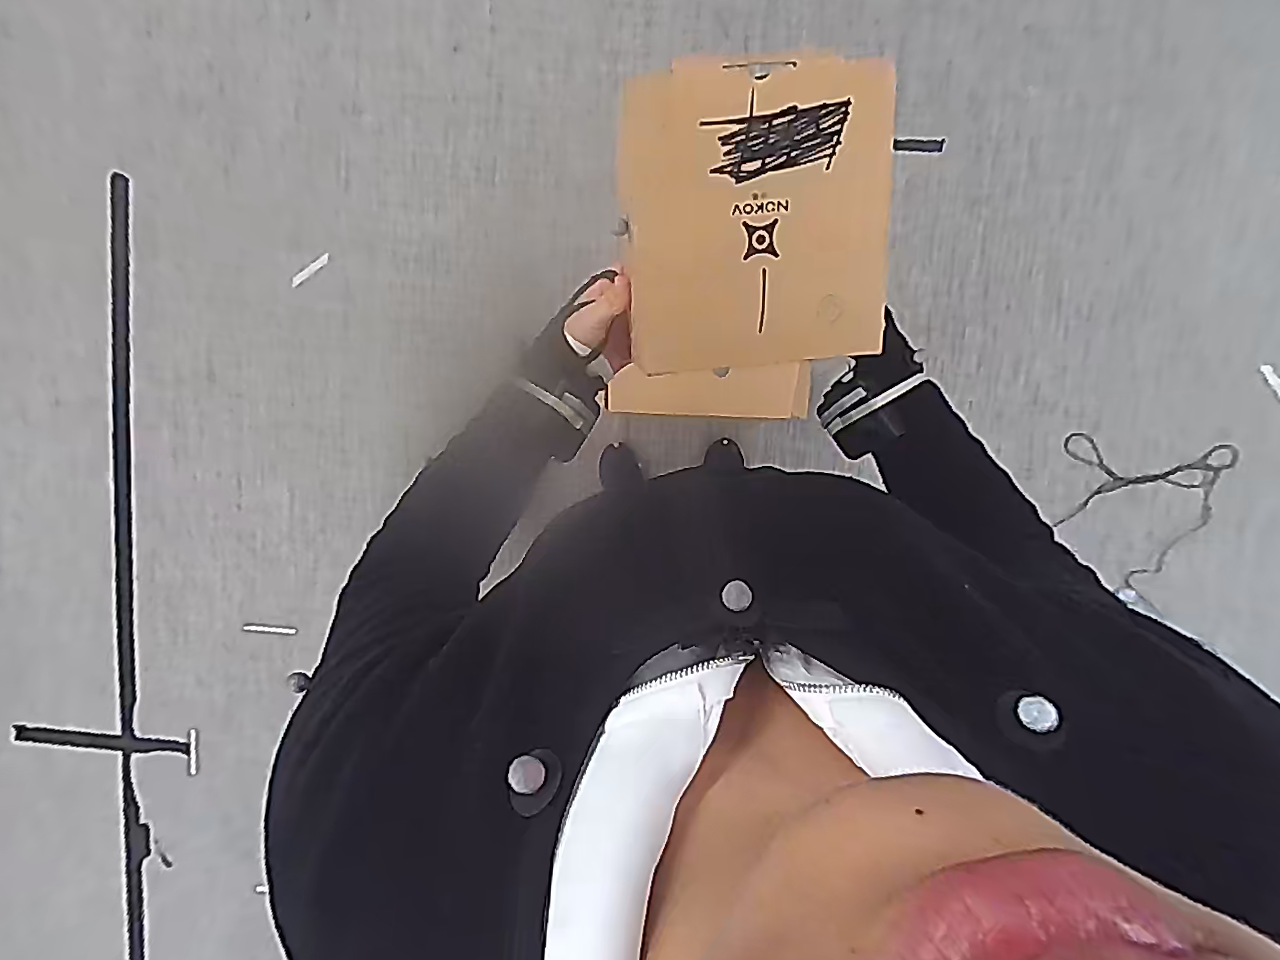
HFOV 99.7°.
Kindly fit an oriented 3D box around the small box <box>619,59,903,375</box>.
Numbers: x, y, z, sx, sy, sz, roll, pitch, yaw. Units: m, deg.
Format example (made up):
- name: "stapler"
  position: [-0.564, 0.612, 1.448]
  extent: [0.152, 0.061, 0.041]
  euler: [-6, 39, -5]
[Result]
- name: "small box"
  position: [0.074, -0.179, 0.413]
  extent: [0.168, 0.176, 0.179]
  euler: [-5, 106, -3]
